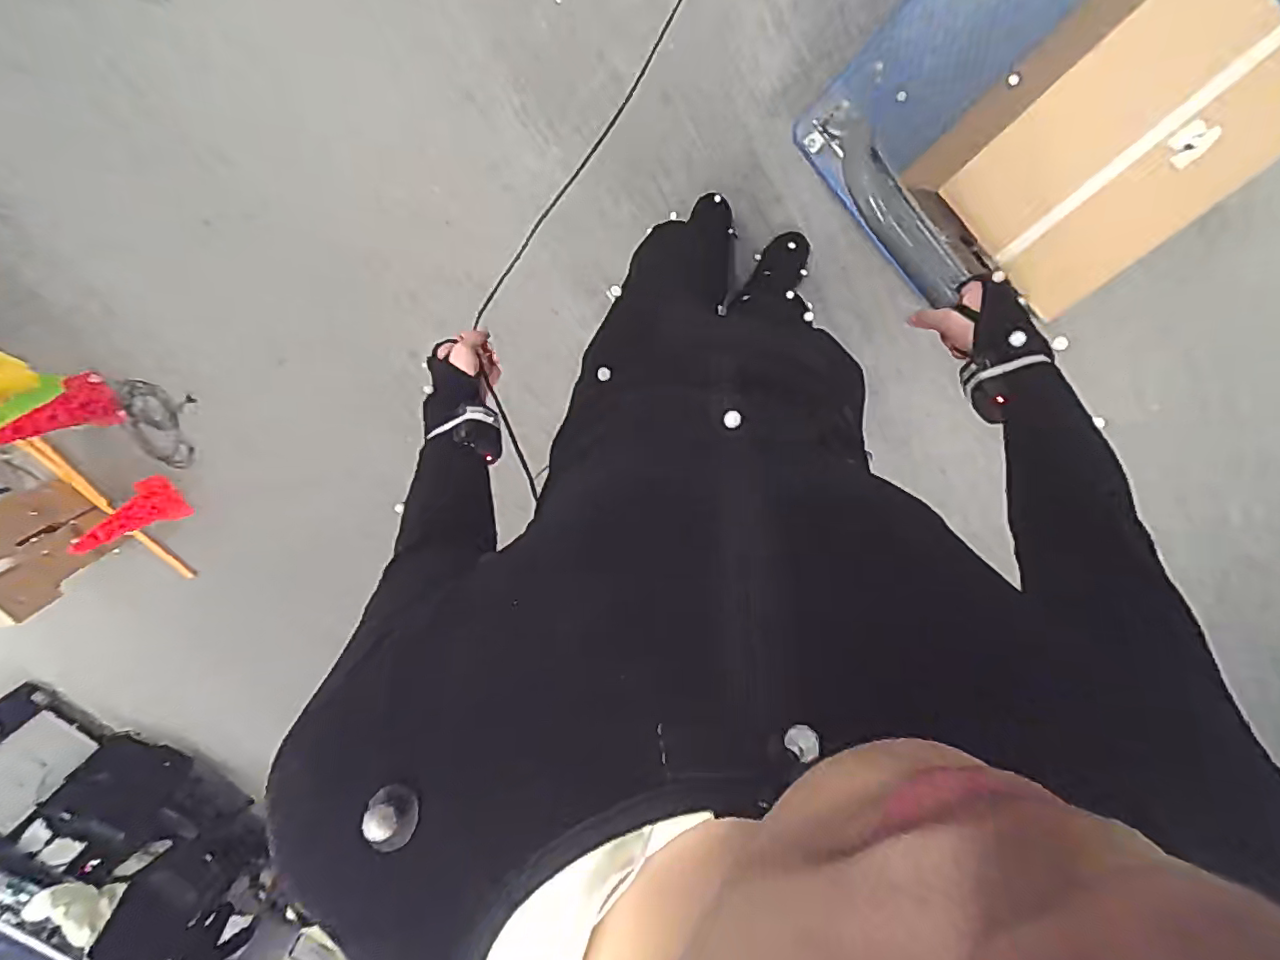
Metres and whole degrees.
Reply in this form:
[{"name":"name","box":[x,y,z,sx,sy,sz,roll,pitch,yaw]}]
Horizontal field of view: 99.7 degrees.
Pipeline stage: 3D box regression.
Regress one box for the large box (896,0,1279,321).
[{"name":"large box","box":[0.741,-0.559,0.939,0.320,0.320,0.408,40,119,-14]}]
